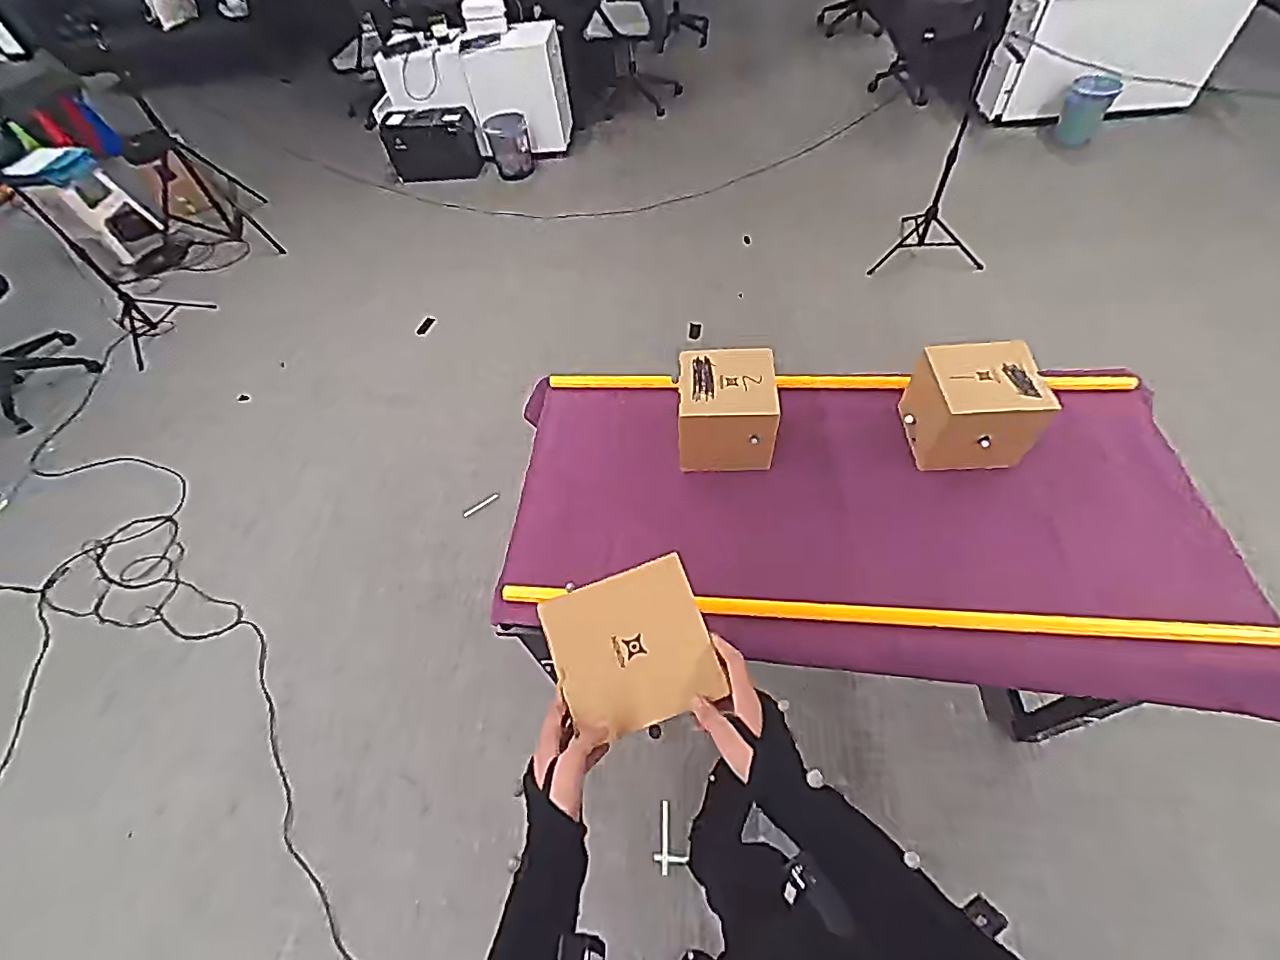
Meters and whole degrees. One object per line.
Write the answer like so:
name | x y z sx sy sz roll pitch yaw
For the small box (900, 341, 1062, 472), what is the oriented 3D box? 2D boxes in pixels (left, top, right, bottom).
small box | 0.602 -0.129 0.982 0.179 0.176 0.168 -3 55 6

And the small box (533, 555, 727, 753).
small box | -0.009 0.208 0.667 0.179 0.176 0.168 -21 72 -1
